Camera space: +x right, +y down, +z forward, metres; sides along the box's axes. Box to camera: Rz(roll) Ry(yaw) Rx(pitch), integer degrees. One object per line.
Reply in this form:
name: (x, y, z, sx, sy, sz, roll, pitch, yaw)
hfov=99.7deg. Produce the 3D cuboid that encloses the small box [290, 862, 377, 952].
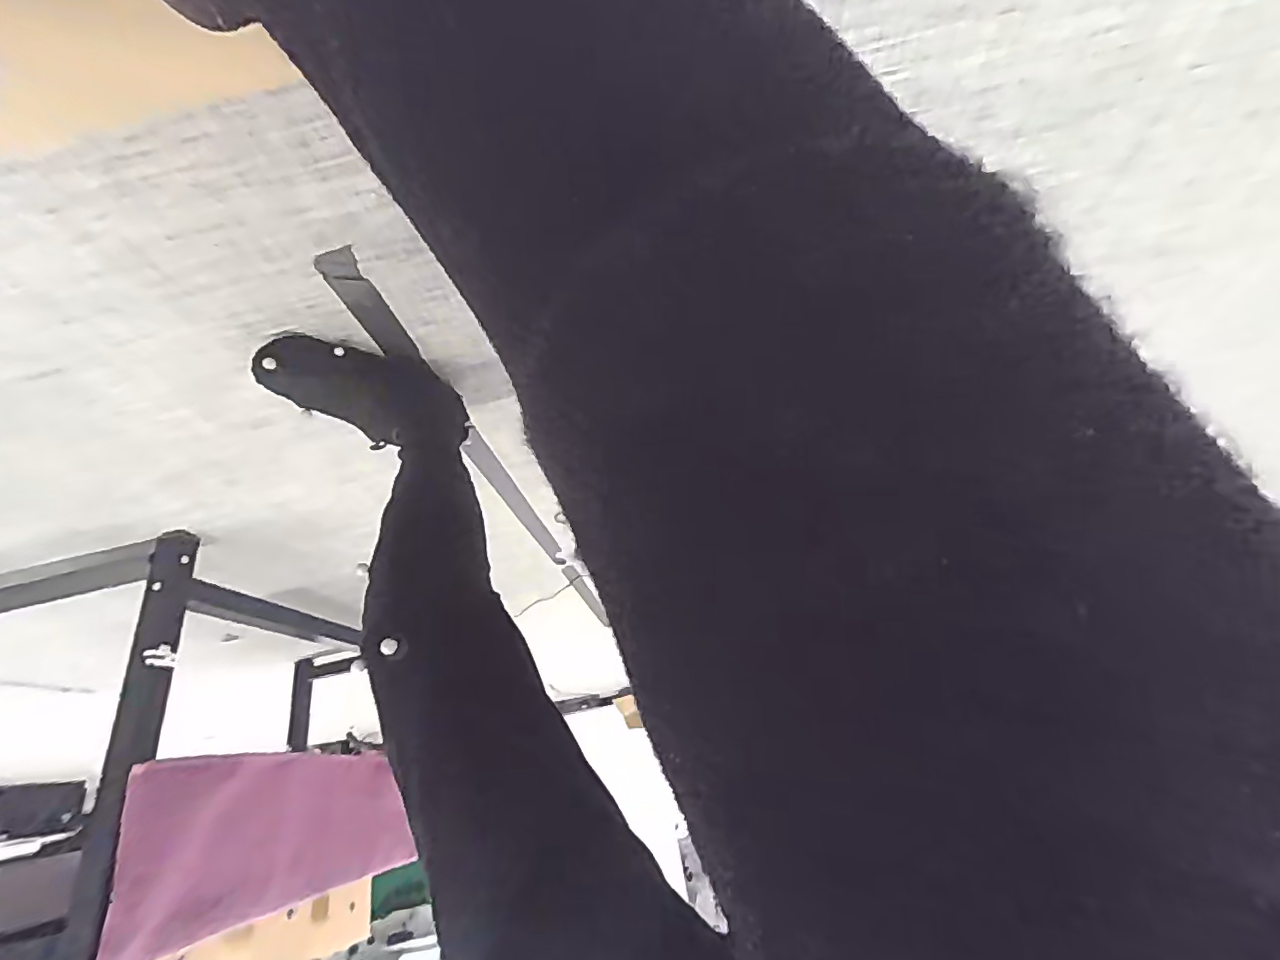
small box: (-0.882, 1.216, 1.546, 0.179, 0.176, 0.168, -16, 152, 10)

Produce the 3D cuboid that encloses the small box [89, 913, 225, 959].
small box: (-0.978, 0.999, 1.083, 0.179, 0.176, 0.168, -19, 153, 13)
